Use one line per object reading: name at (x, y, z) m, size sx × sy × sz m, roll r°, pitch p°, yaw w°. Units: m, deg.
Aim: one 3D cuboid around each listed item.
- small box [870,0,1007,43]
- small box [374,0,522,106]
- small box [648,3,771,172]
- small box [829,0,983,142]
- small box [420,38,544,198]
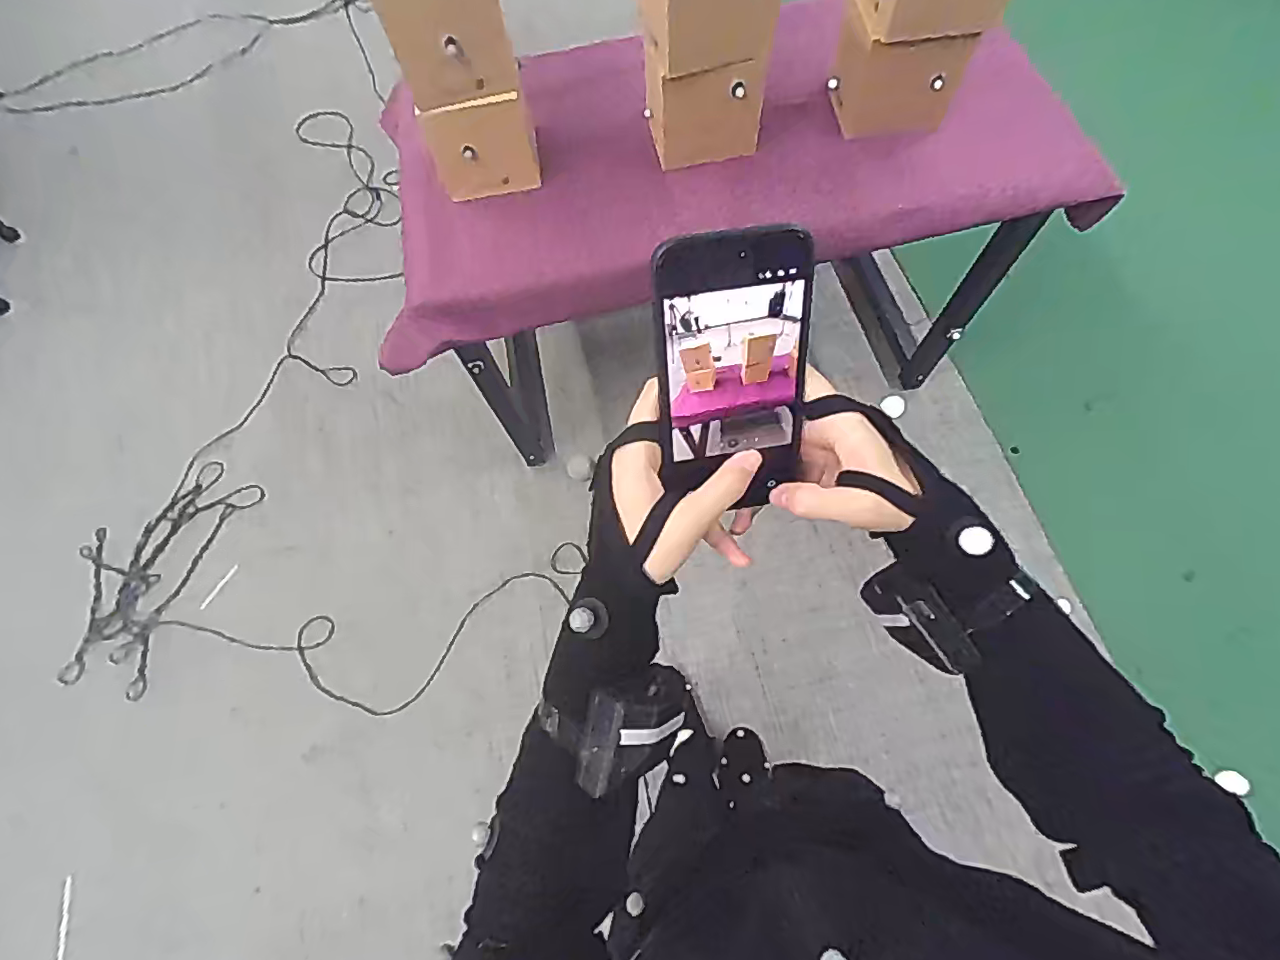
small box at (0.451, -0.778, 0.789) m, size 0.179 × 0.176 × 0.168 m, roll -5°, pitch 67°, yaw 2°
small box at (-0.286, -0.698, 0.811) m, size 0.168 × 0.176 × 0.179 m, roll -14°, pitch 68°, yaw -2°
small box at (0.114, -0.680, 0.950) m, size 0.179 × 0.176 × 0.168 m, roll -10°, pitch 67°, yaw 0°
small box at (0.451, -0.728, 0.946) m, size 0.179 × 0.176 × 0.168 m, roll -5°, pitch 67°, yaw 3°
small box at (-0.274, -0.628, 0.959) m, size 0.168 × 0.176 × 0.179 m, roll -10°, pitch 67°, yaw 0°
